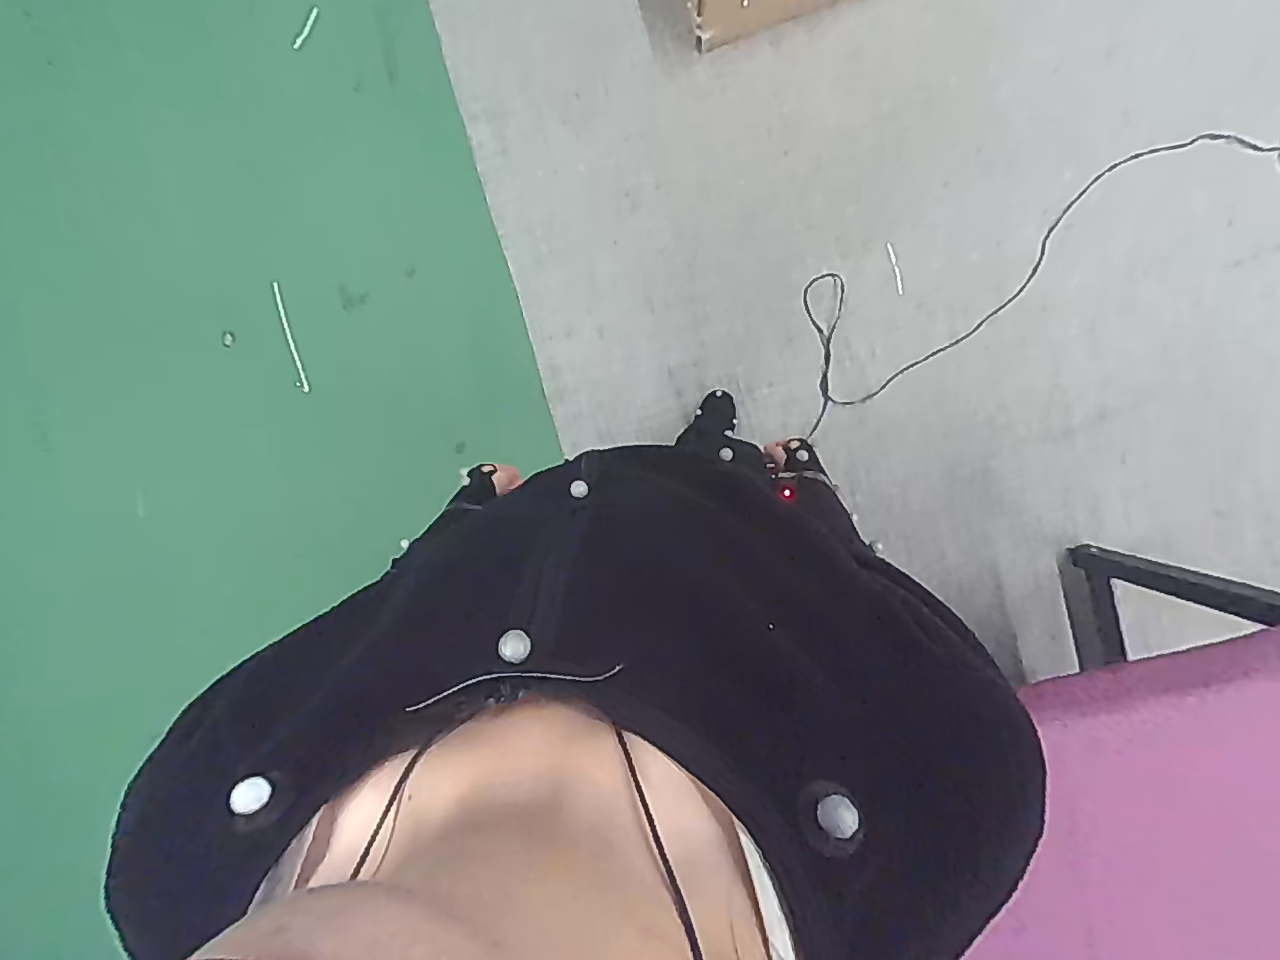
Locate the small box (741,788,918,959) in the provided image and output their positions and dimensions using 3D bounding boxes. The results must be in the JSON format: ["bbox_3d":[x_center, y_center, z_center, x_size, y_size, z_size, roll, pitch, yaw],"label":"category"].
[{"bbox_3d":[0.242,0.554,0.725,0.179,0.176,0.168,-17,92,4],"label":"small box"}]
